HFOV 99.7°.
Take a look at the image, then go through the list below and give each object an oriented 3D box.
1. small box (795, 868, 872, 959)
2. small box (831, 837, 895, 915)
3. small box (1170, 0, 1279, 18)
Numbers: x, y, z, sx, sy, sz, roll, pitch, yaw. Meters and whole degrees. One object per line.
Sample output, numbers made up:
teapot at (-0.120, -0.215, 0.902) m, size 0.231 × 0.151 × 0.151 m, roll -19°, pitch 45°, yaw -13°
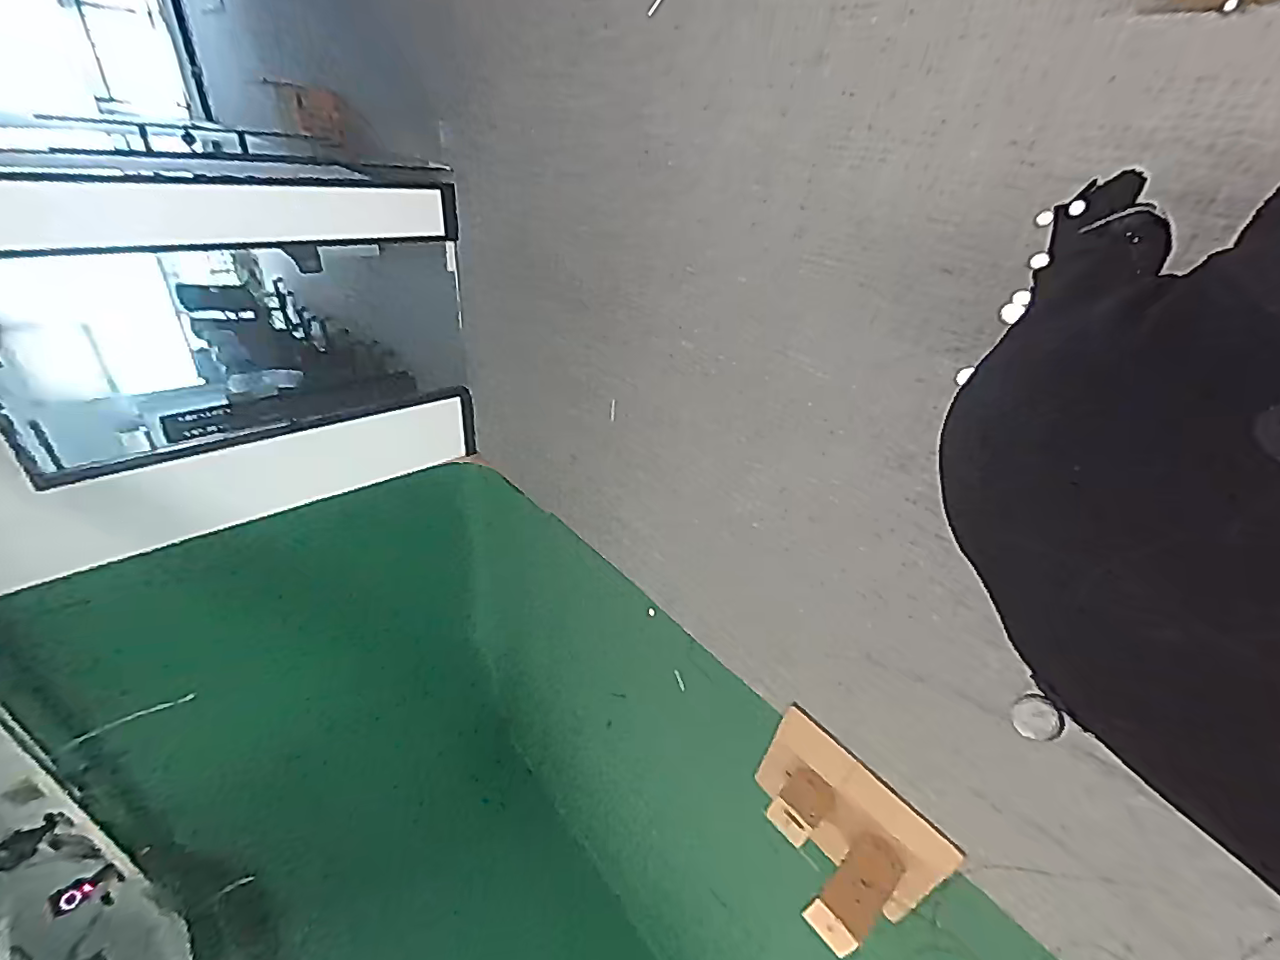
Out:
small box at (0.686, 1.526, 1.907) m, size 0.168 × 0.176 × 0.179 m, roll 39°, pitch 134°, yaw 33°
small box at (0.811, 1.470, 1.995) m, size 0.168 × 0.176 × 0.179 m, roll 37°, pitch 134°, yaw 33°
small box at (0.918, -0.817, 0.793) m, size 0.168 × 0.176 × 0.179 m, roll 31°, pitch 129°, yaw 40°
